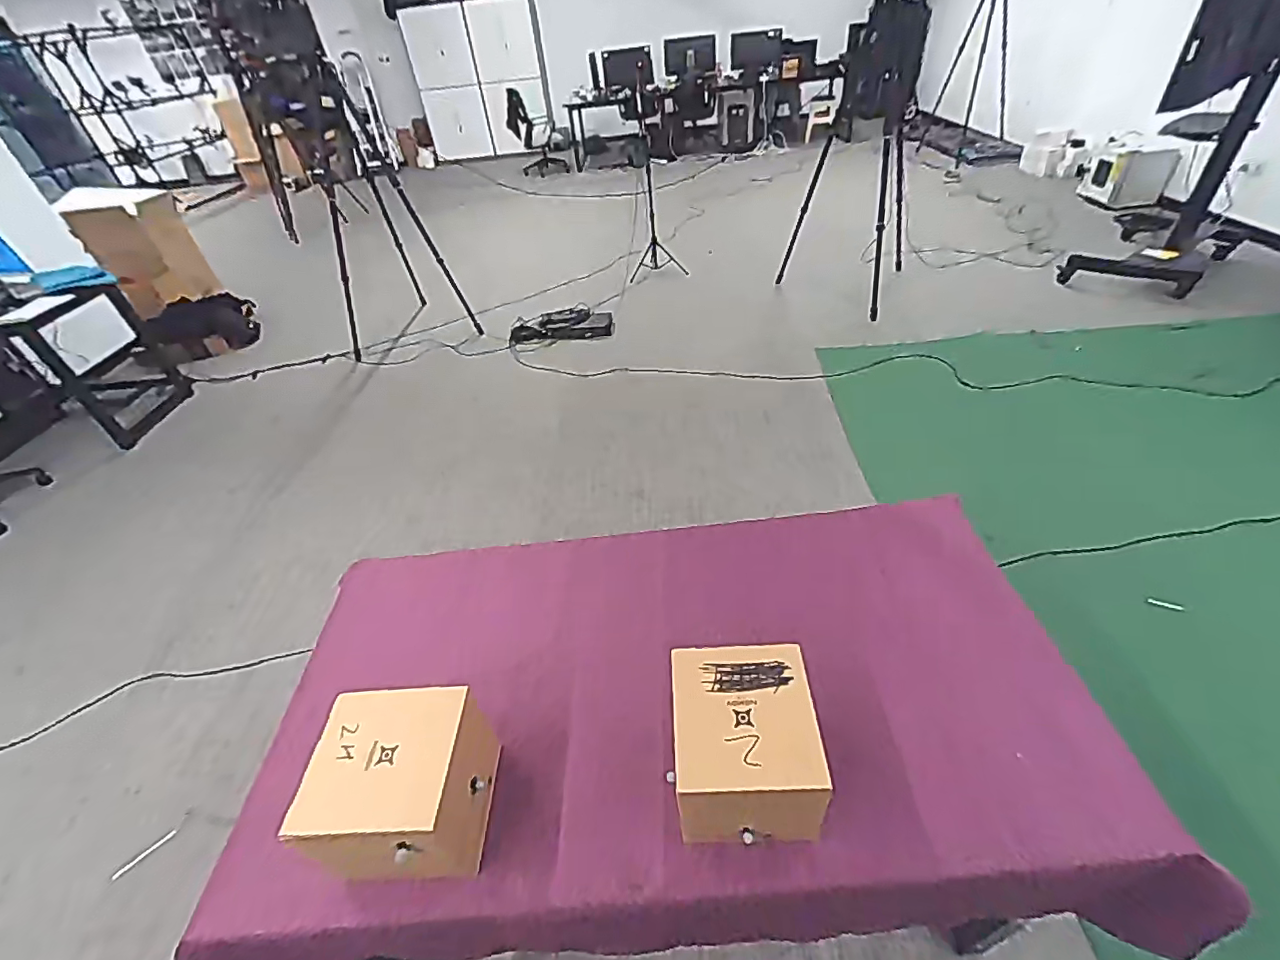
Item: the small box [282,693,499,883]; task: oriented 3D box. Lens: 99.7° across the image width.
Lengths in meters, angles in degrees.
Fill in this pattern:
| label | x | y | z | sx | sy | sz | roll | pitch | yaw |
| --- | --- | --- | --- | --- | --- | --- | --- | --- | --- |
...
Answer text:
| label | x | y | z | sx | sy | sz | roll | pitch | yaw |
| --- | --- | --- | --- | --- | --- | --- | --- | --- | --- |
| small box | -0.295 | 0.394 | 0.692 | 0.179 | 0.176 | 0.168 | -5 | 39 | 4 |
